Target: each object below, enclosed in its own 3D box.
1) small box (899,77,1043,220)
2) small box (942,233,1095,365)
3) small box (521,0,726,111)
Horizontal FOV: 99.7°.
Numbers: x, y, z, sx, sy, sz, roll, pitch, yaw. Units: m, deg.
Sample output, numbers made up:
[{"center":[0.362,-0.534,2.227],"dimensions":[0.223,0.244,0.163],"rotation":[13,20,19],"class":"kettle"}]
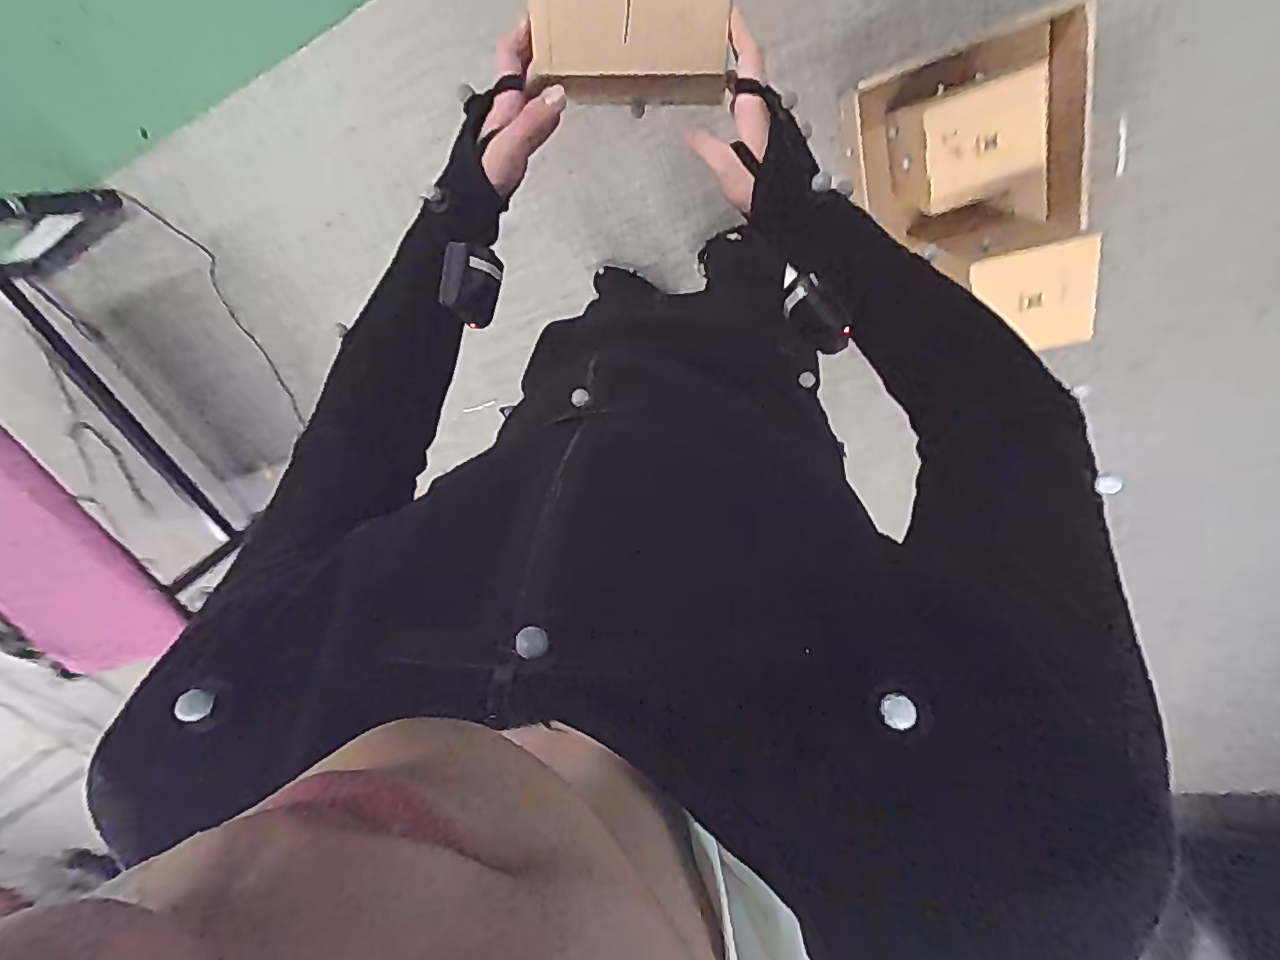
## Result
[{"center":[0.583,-0.589,0.968],"dimensions":[0.179,0.176,0.168],"rotation":[-12,119,18],"class":"small box"},{"center":[0.637,-0.315,0.937],"dimensions":[0.179,0.176,0.168],"rotation":[-8,118,18],"class":"small box"},{"center":[-0.005,-0.451,0.485],"dimensions":[0.168,0.176,0.179],"rotation":[5,118,6],"class":"small box"}]
